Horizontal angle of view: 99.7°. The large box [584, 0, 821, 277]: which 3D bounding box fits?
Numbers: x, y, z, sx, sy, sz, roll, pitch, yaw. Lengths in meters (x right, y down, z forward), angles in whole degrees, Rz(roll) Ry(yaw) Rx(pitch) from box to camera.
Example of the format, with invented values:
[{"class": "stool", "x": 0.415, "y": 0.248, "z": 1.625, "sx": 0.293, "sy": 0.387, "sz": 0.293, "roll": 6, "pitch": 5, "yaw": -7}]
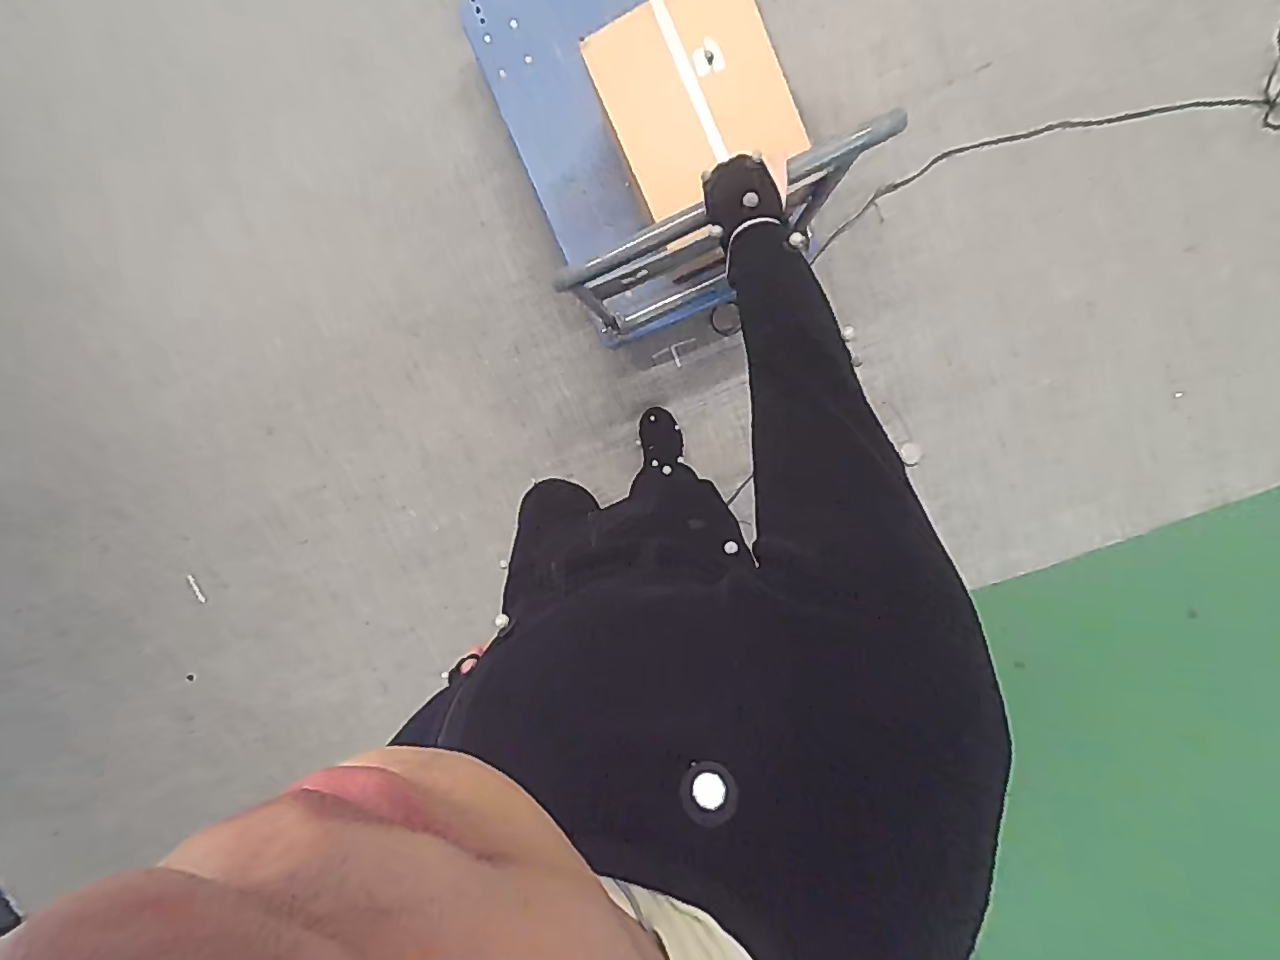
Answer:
[{"class": "large box", "x": 0.131, "y": -0.711, "z": 1.145, "sx": 0.320, "sy": 0.320, "sz": 0.408, "roll": -24, "pitch": 97, "yaw": 8}]
